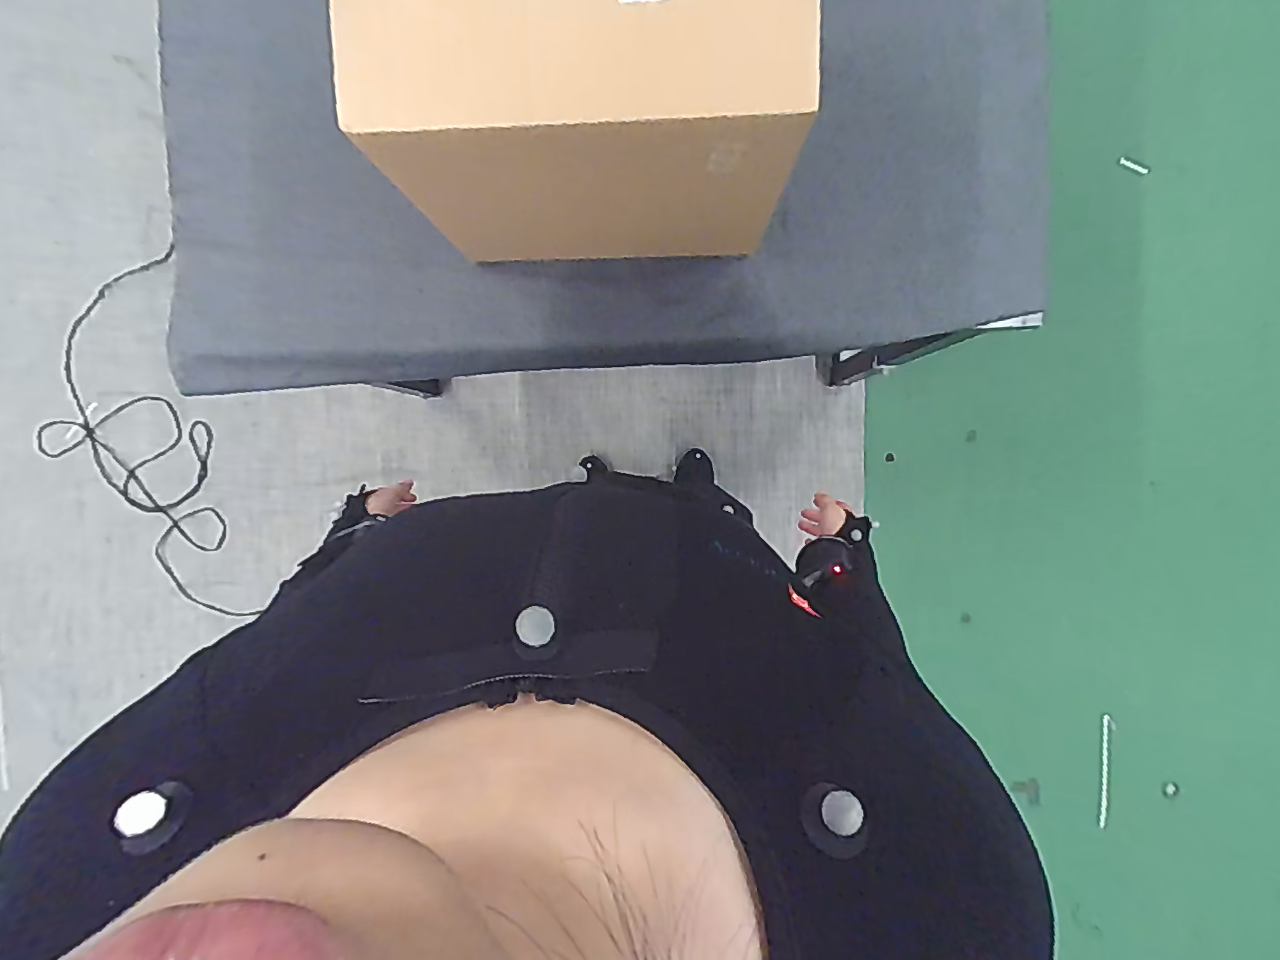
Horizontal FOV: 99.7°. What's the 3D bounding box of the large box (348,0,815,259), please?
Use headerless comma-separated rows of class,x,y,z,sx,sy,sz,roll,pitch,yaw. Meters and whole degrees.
large box,-0.052,-0.465,0.607,0.408,0.320,0.320,-1,93,2
